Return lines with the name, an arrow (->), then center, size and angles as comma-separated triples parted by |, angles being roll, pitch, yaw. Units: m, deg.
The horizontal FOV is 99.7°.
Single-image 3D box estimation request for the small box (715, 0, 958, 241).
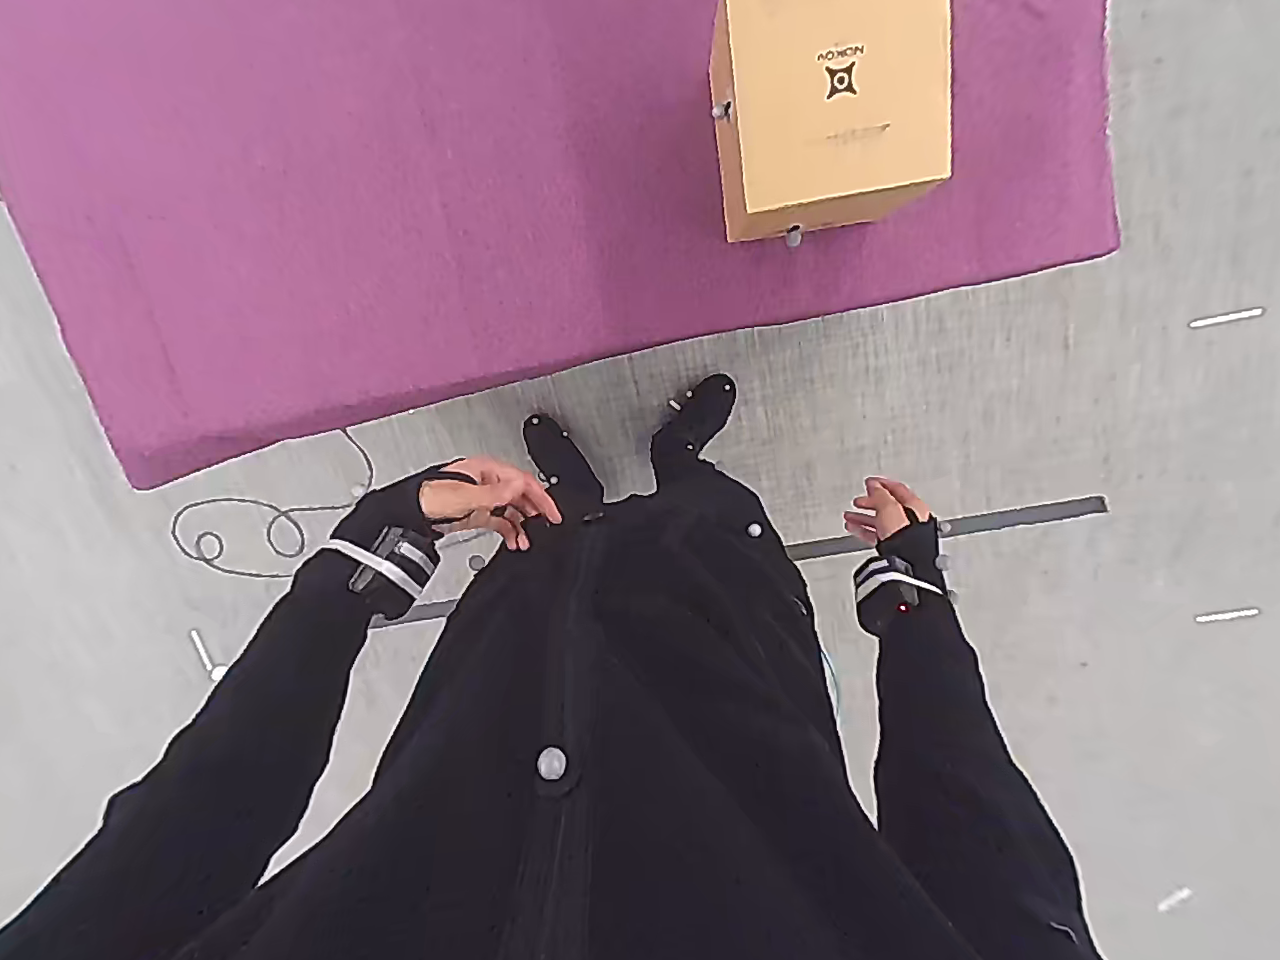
small box -> 0.162, -0.334, 0.491 | 0.168, 0.176, 0.179 | -6, 104, 6
